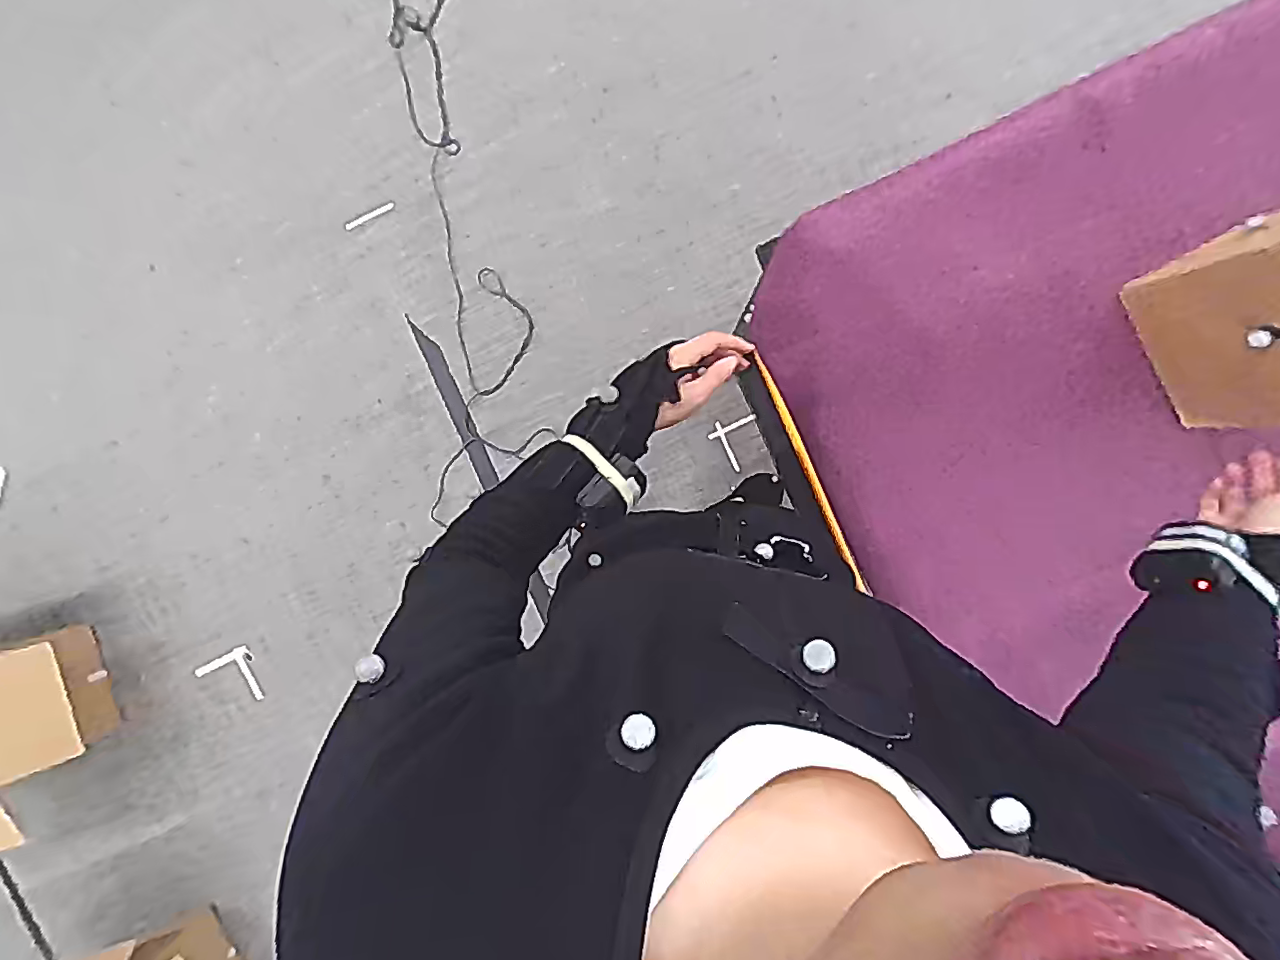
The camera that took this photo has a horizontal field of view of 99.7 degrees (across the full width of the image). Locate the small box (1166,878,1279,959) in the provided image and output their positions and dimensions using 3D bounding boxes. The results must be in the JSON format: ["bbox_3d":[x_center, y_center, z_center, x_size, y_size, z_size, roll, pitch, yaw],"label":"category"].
[{"bbox_3d":[0.738,0.587,0.578,0.168,0.176,0.179,-22,92,3],"label":"small box"}]

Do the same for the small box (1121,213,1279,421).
[{"bbox_3d":[0.641,-0.166,0.526,0.168,0.176,0.179,-28,92,5],"label":"small box"}]
